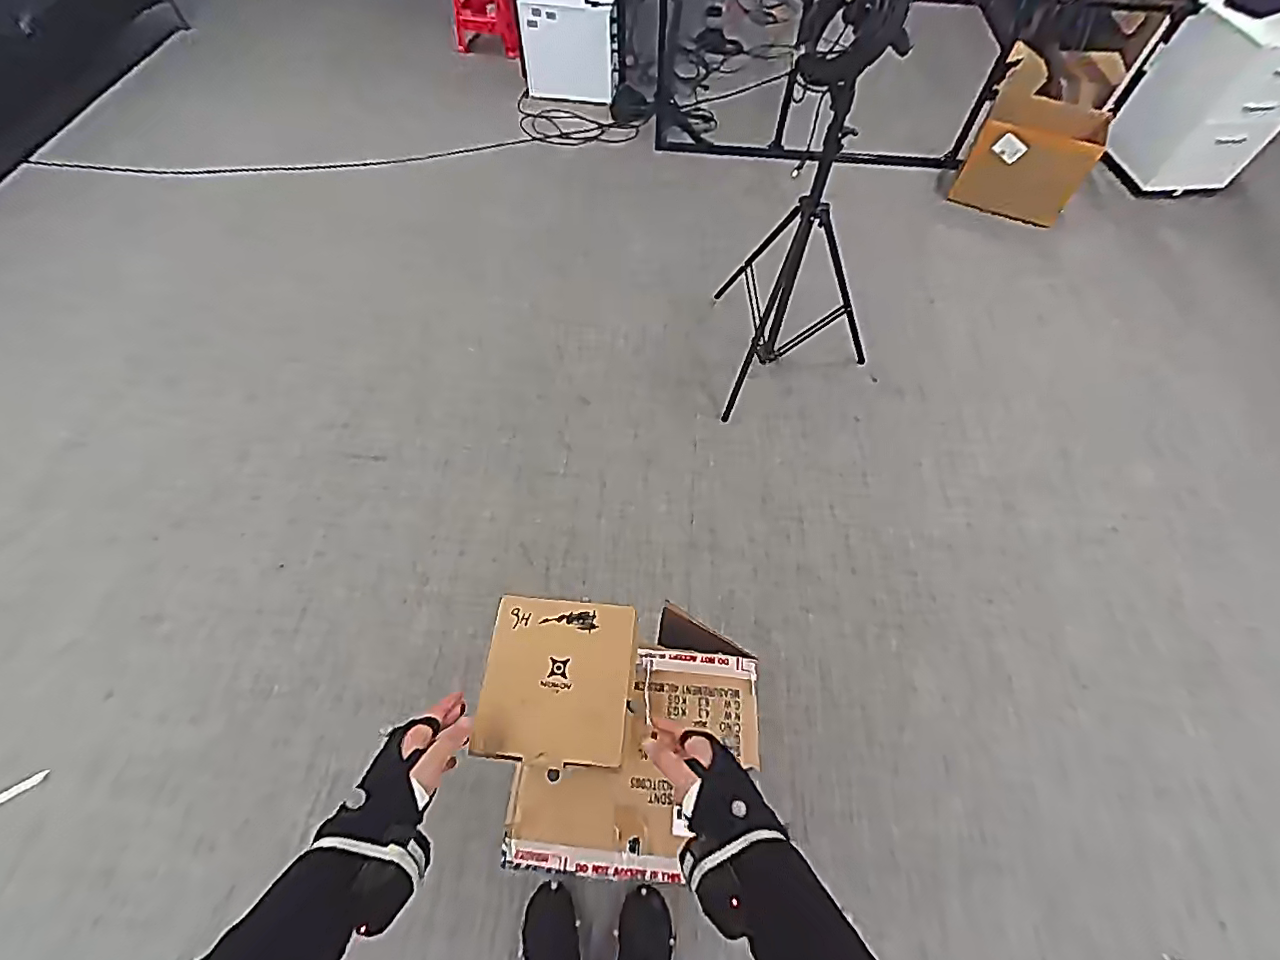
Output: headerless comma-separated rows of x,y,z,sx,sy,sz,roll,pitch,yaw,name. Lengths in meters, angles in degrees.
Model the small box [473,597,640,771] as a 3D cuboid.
-0.090,0.262,0.683,0.168,0.176,0.179,4,62,3,small box
